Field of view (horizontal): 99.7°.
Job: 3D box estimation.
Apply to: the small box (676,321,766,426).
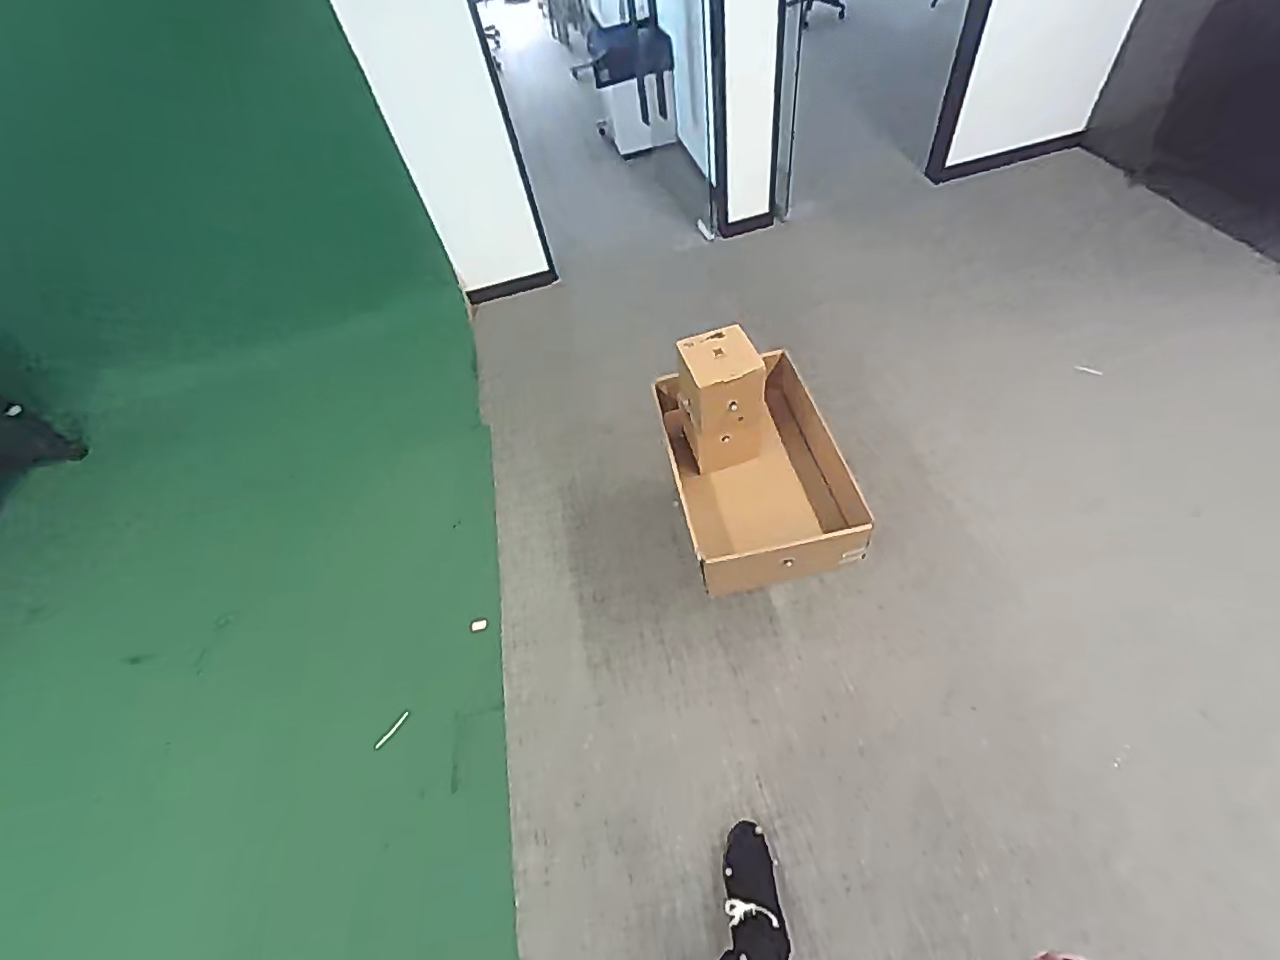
[{"bbox_3d":[0.198,-0.252,1.326,0.168,0.176,0.179,-17,54,-3],"label":"small box"}]
